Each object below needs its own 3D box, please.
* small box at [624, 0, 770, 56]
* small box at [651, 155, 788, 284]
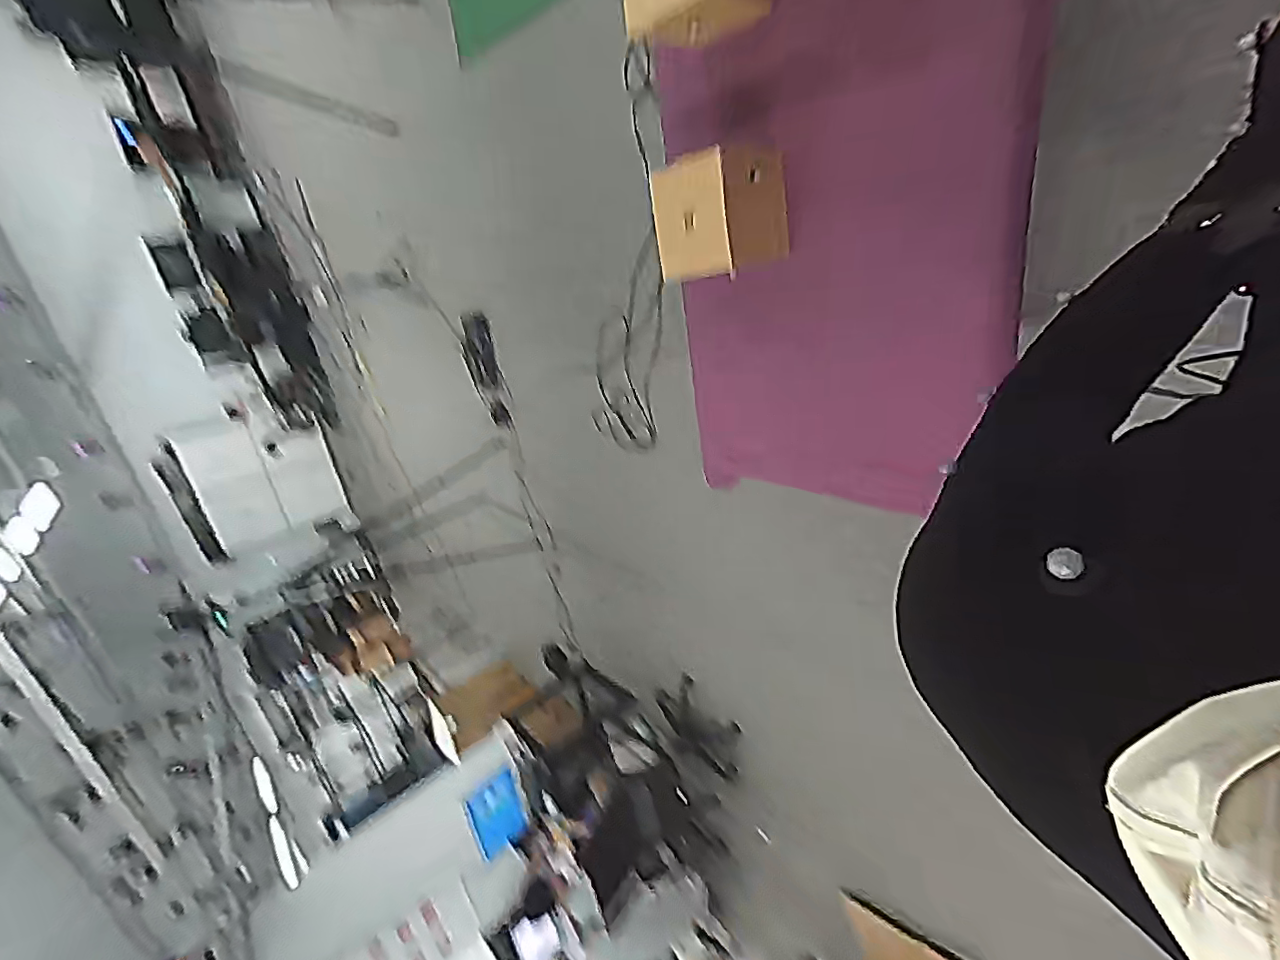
[{"bbox_3d":[0.088,-0.788,0.832,0.179,0.176,0.168,16,123,48],"label":"small box"},{"bbox_3d":[0.145,-0.457,0.961,0.168,0.176,0.179,13,121,48],"label":"small box"}]
